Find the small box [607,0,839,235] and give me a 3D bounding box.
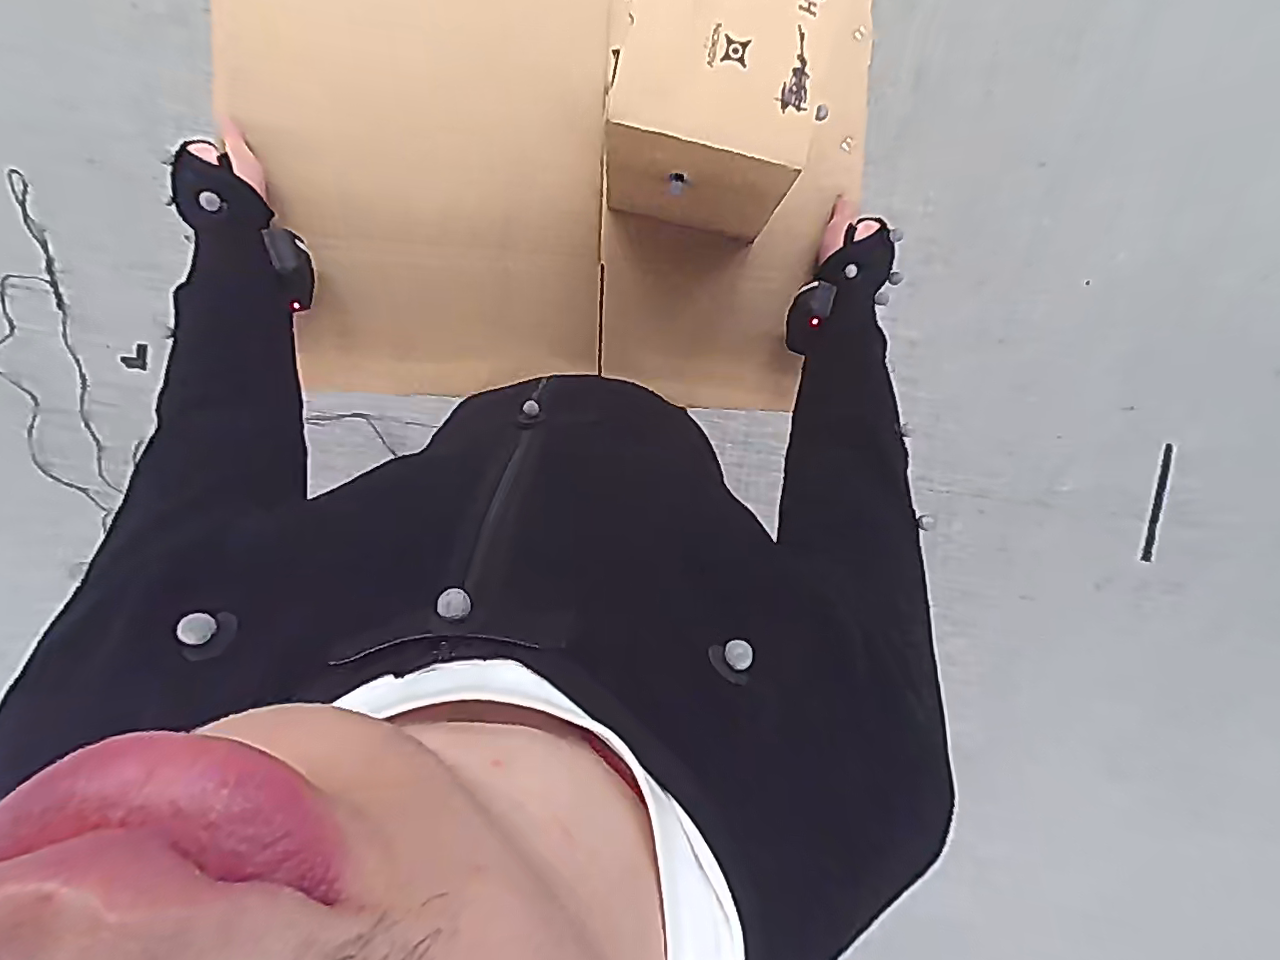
[{"bbox_3d":[0.070,-0.370,0.541,0.179,0.176,0.168,12,93,-3],"label":"small box"}]
